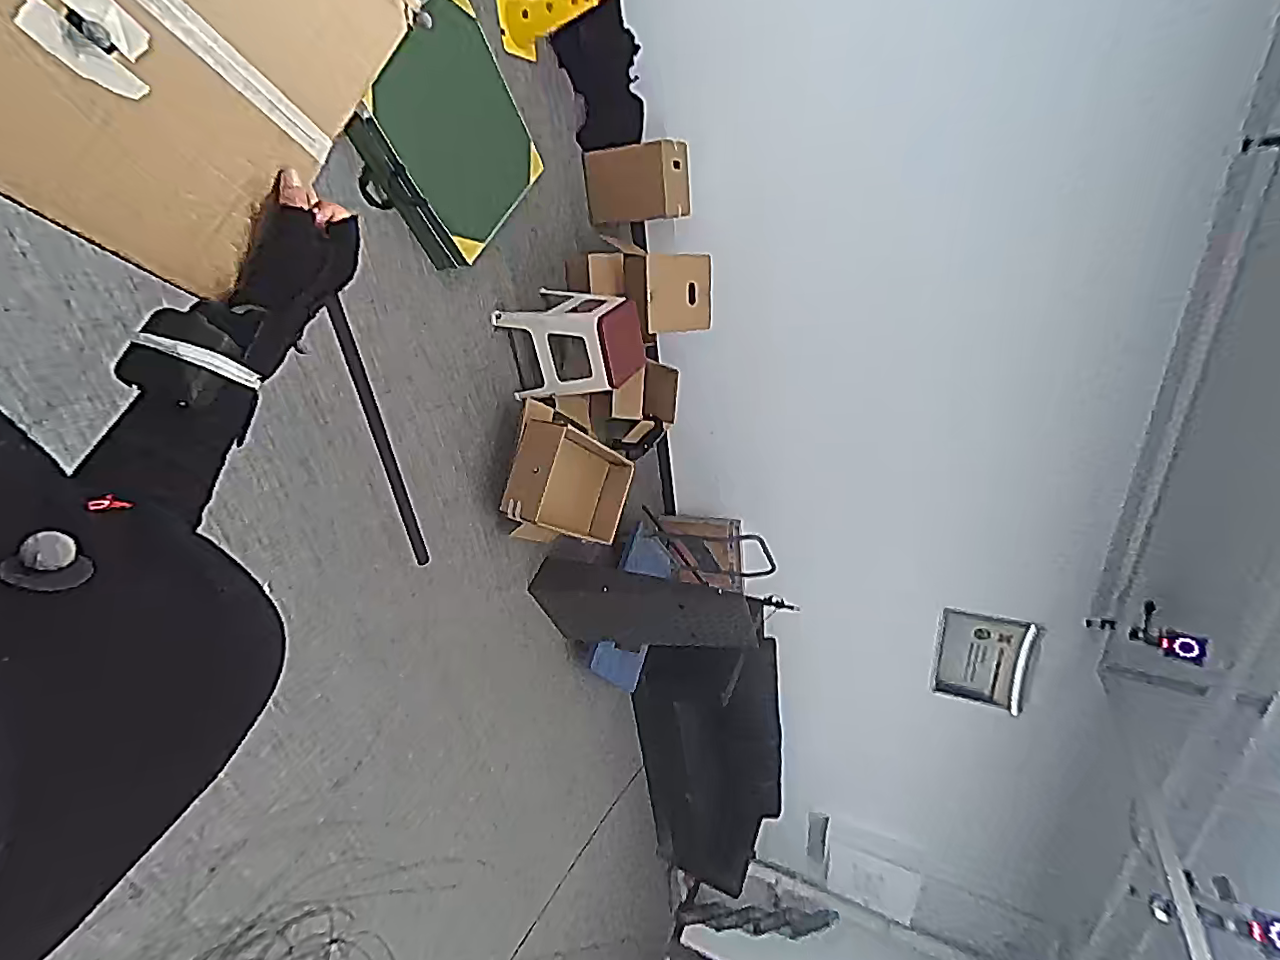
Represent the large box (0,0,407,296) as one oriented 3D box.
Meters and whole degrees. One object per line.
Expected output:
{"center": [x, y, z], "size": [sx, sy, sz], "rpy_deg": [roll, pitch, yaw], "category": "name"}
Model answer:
{"center": [-0.467, -0.395, 0.357], "size": [0.320, 0.320, 0.408], "rpy_deg": [-60, 153, -4], "category": "large box"}
